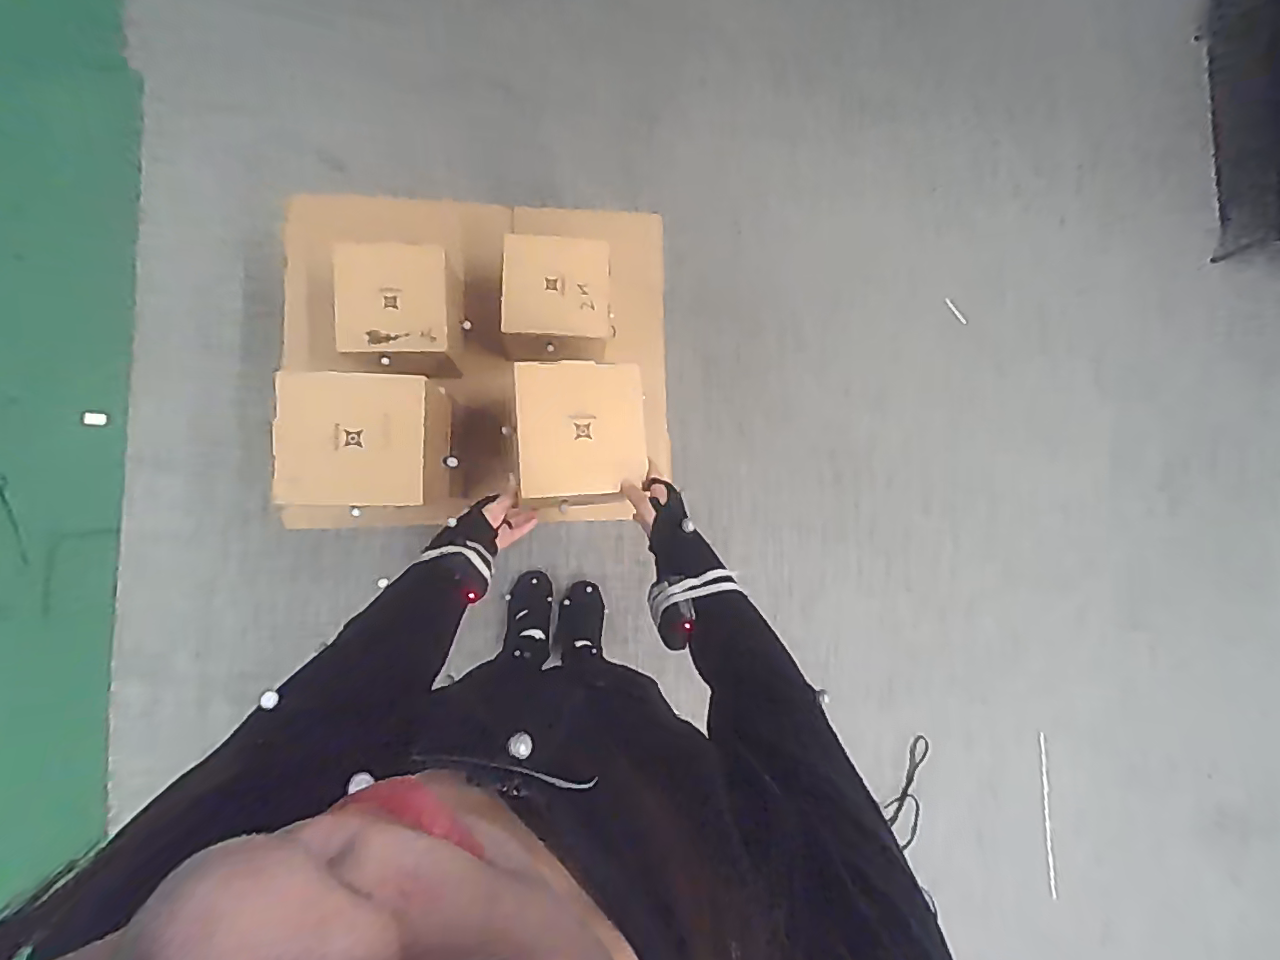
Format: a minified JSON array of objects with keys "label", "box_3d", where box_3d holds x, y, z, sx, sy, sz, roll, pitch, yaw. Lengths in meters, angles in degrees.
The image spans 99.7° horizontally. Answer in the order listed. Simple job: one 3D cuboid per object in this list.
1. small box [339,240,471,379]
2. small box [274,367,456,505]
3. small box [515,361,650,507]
[{"label":"small box","box_3d":[-0.389,-0.280,0.918,0.168,0.176,0.179,-2,86,-6]},{"label":"small box","box_3d":[-0.363,-0.051,0.744,0.179,0.176,0.168,2,88,-8]},{"label":"small box","box_3d":[-0.088,-0.055,0.761,0.168,0.176,0.179,-2,81,-14]}]
